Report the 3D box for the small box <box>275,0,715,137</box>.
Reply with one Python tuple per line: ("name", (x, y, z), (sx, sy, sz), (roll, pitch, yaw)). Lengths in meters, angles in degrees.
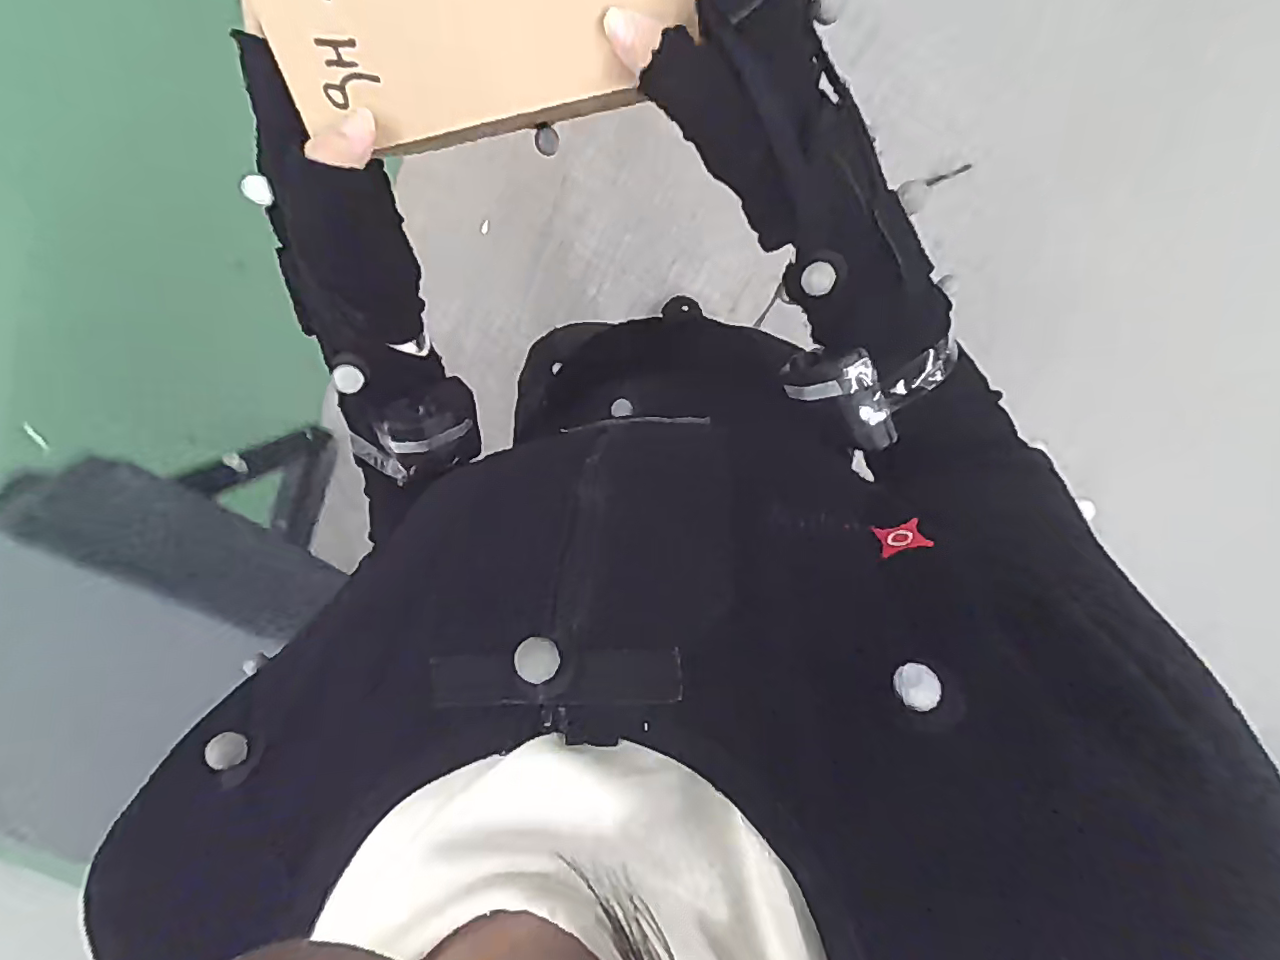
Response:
("small box", (-0.069, -0.276, 0.259), (0.179, 0.176, 0.168), (-9, 122, 3))
